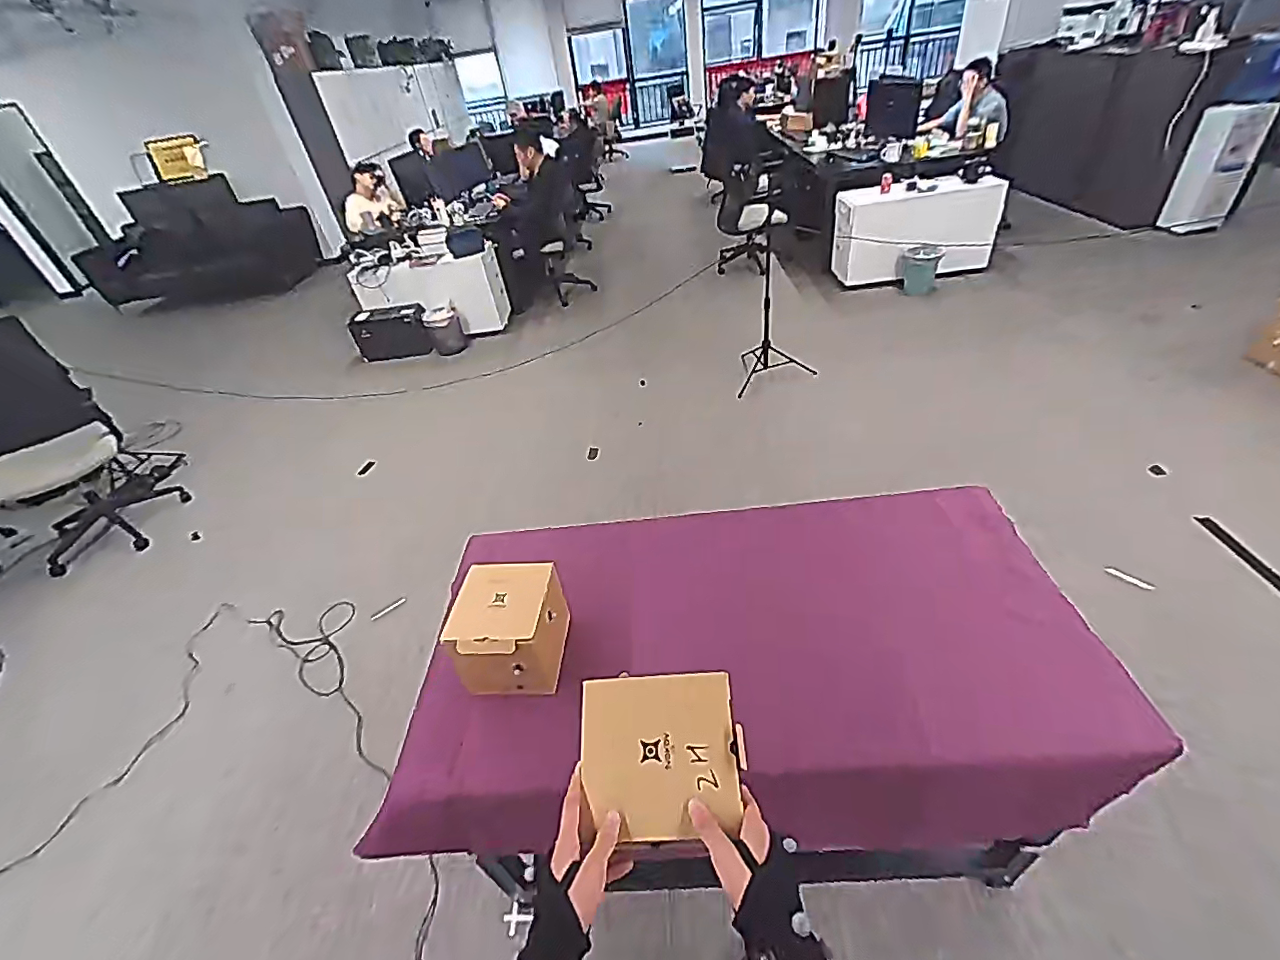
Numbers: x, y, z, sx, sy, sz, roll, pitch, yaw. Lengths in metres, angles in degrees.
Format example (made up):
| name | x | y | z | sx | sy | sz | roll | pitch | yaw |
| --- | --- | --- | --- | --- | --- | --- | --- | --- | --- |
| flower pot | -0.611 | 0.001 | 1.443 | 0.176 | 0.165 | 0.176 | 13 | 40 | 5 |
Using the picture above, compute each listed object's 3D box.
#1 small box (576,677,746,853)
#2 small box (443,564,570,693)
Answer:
| name | x | y | z | sx | sy | sz | roll | pitch | yaw |
| --- | --- | --- | --- | --- | --- | --- | --- | --- | --- |
| small box | 0.028 | 0.348 | 0.653 | 0.179 | 0.176 | 0.168 | -4 | 54 | 4 |
| small box | -0.236 | 0.279 | 1.013 | 0.168 | 0.176 | 0.179 | -2 | 38 | 8 |
